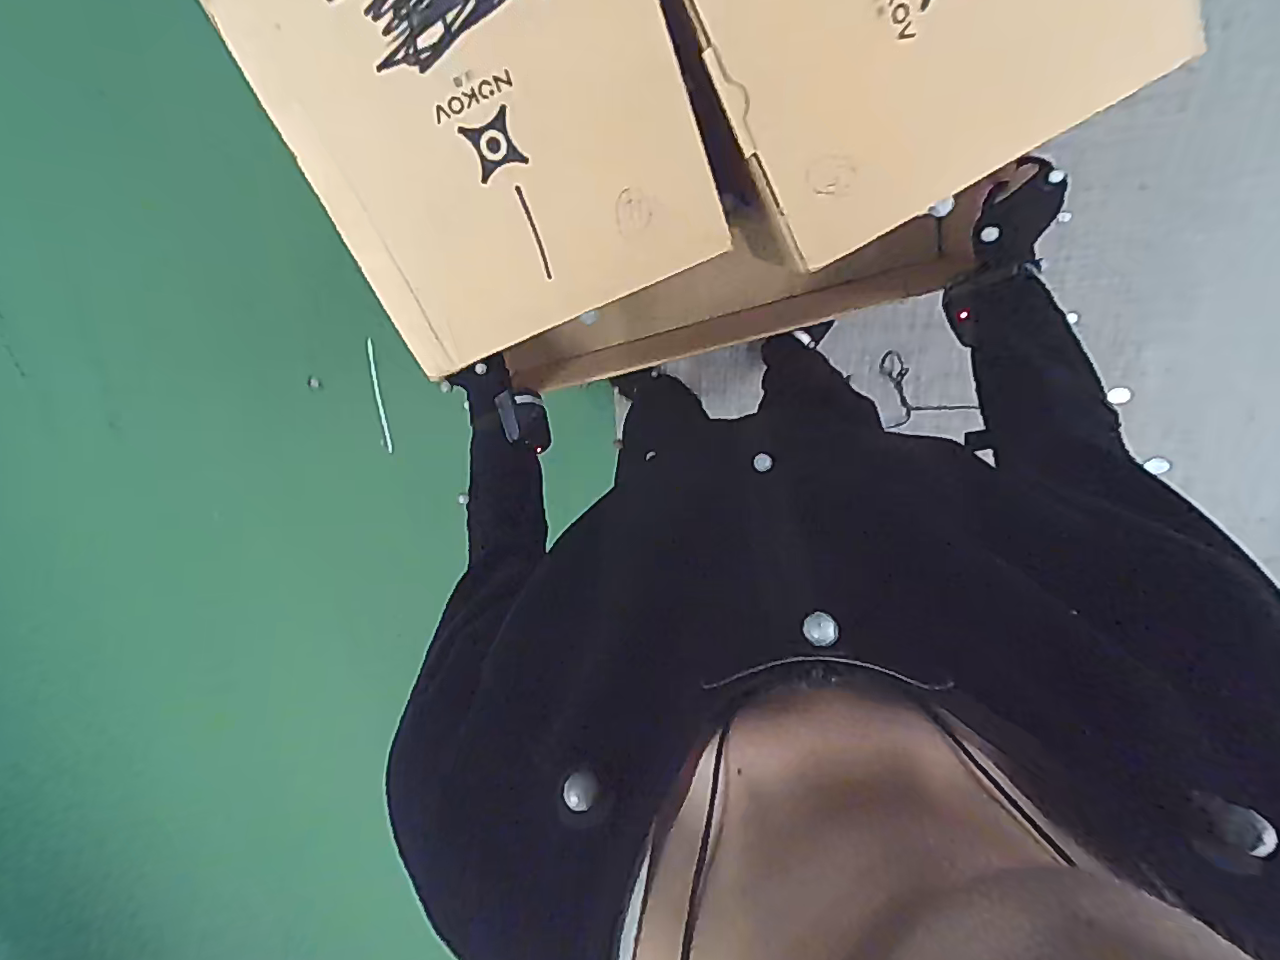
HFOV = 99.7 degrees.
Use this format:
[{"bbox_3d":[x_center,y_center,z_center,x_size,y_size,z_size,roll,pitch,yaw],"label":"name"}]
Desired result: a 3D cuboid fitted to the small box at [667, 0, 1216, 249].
[{"bbox_3d":[0.120,-0.241,0.283,0.179,0.176,0.168,-26,111,14],"label":"small box"}]
